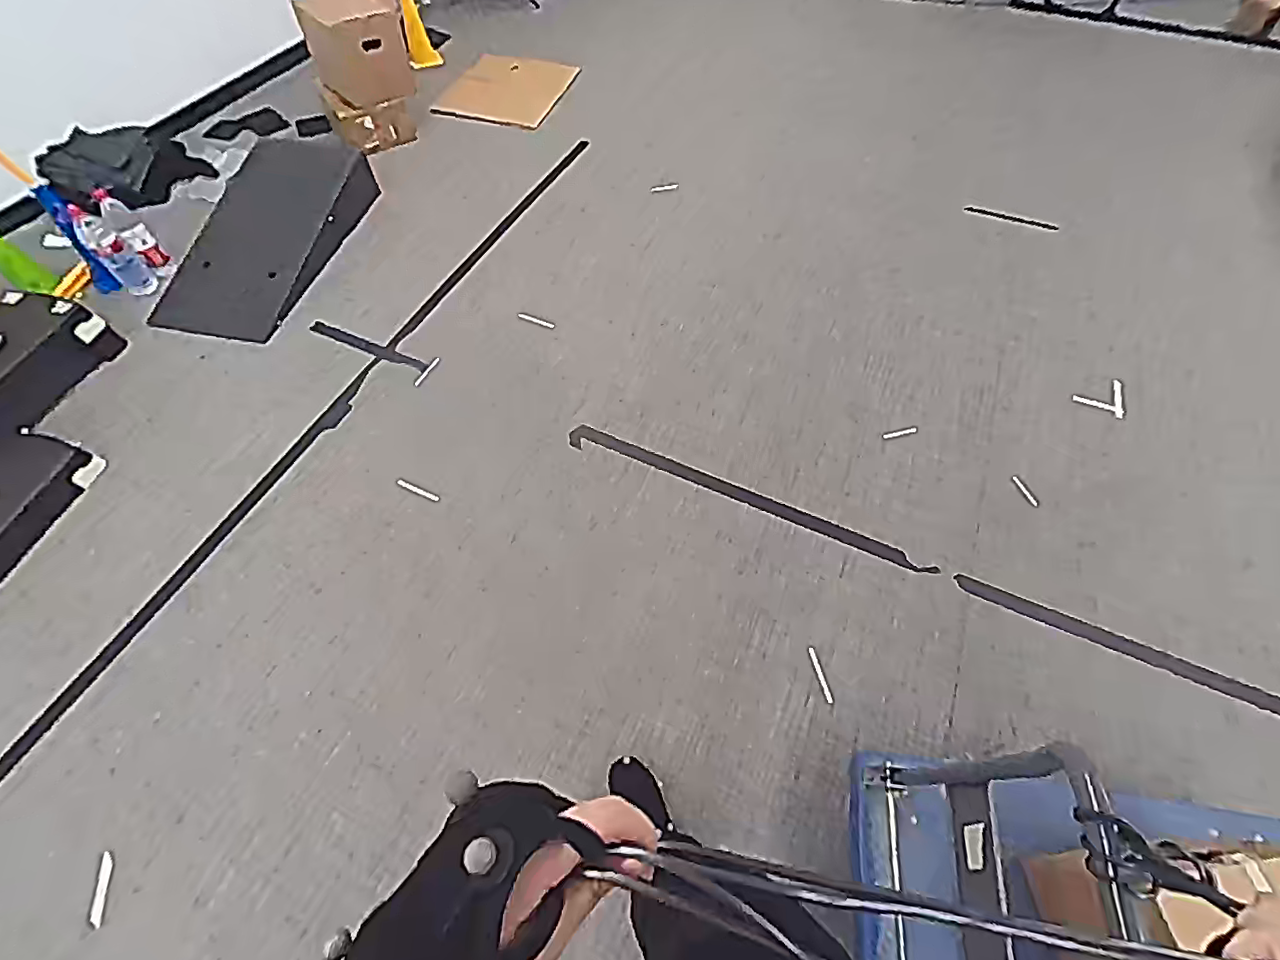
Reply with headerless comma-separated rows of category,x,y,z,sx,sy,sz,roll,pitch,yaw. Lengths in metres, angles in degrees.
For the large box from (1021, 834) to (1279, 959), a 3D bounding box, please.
large box,0.892,0.798,0.811,0.320,0.320,0.408,-6,60,-3
